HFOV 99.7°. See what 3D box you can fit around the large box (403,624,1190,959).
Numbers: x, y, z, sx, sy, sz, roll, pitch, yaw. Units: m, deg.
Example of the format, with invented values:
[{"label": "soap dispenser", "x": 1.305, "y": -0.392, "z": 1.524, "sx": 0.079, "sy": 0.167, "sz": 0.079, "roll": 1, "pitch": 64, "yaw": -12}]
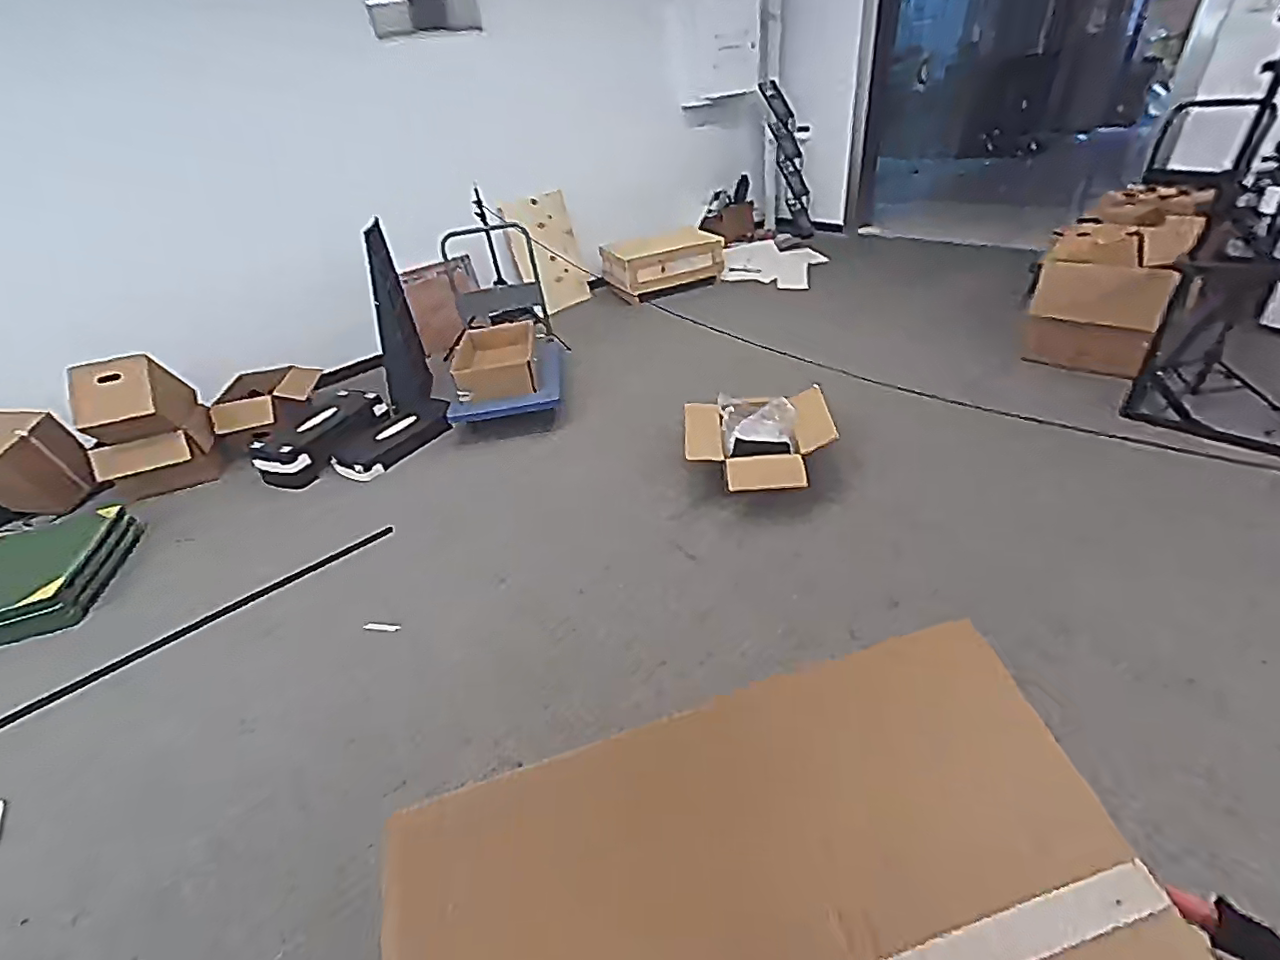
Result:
[{"label": "large box", "x": 0.093, "y": 0.362, "z": 0.397, "sx": 0.408, "sy": 0.320, "sz": 0.320, "roll": -16, "pitch": 55, "yaw": -6}]
